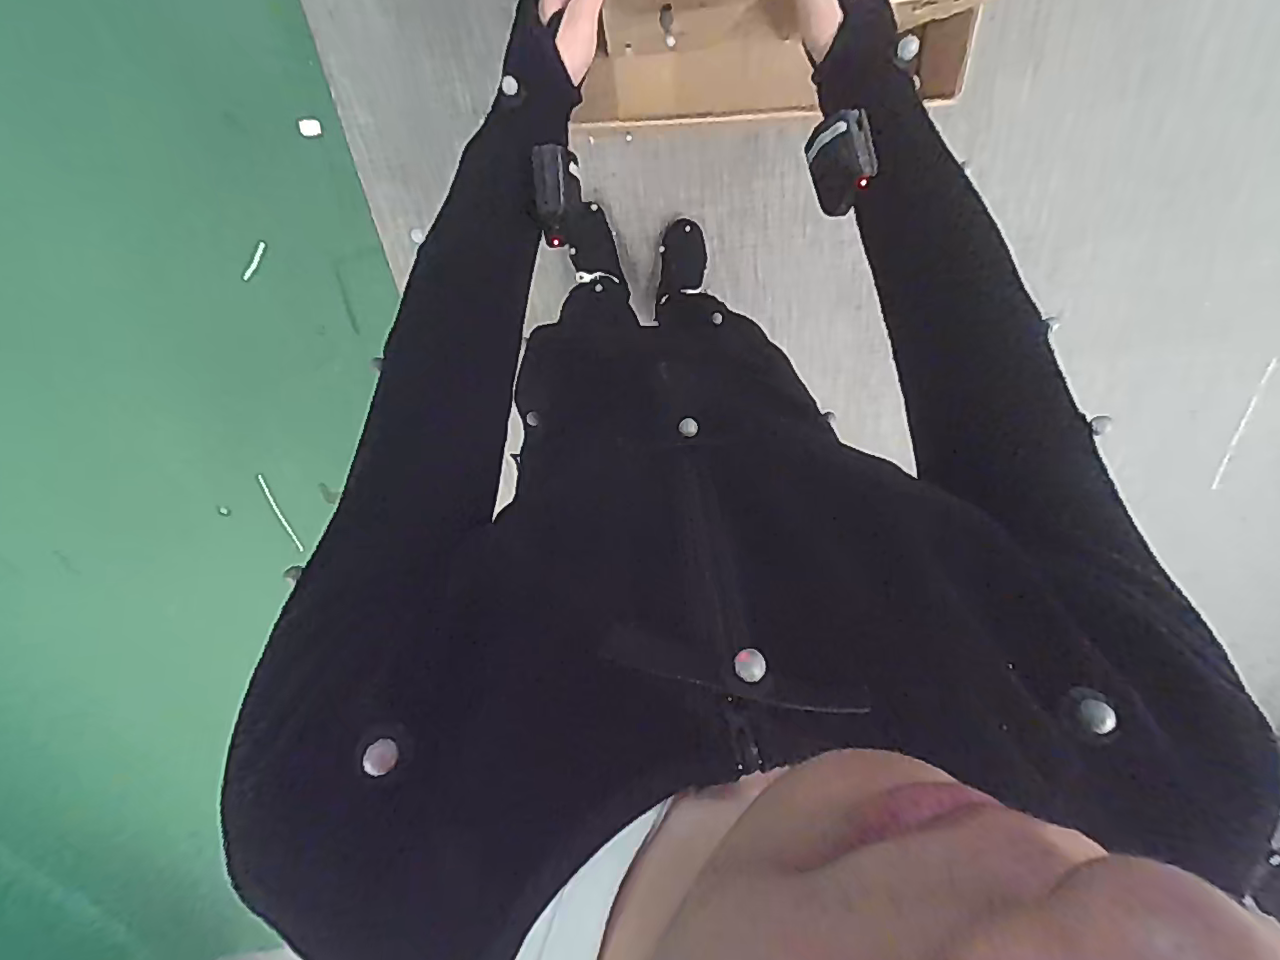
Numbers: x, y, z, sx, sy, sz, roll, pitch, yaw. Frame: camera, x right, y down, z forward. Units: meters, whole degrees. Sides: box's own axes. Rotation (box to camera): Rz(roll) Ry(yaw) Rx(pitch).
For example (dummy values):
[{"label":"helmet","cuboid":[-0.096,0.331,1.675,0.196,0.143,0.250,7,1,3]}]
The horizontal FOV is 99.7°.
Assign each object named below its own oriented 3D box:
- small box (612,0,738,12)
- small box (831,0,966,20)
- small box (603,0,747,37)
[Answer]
[{"label":"small box","cuboid":[0.039,-0.550,0.477,0.168,0.176,0.179,-5,122,2]},{"label":"small box","cuboid":[0.328,-0.654,0.617,0.168,0.176,0.179,-6,122,1]},{"label":"small box","cuboid":[0.033,-0.637,0.614,0.168,0.176,0.179,-5,122,2]}]
